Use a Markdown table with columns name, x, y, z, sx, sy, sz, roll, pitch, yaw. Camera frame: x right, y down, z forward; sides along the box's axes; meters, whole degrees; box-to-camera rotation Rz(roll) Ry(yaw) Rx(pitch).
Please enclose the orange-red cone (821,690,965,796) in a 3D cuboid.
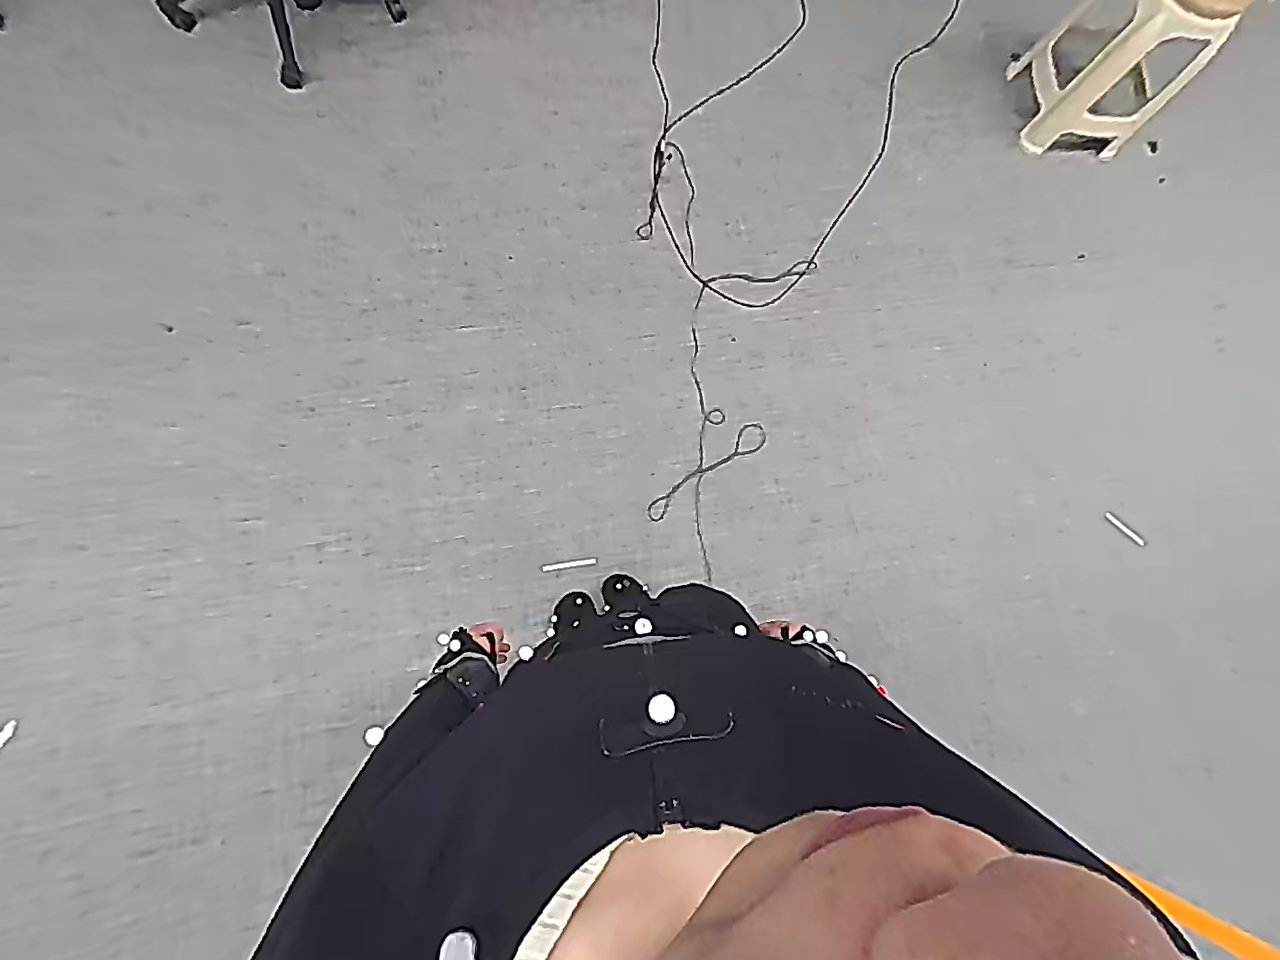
| name | x | y | z | sx | sy | sz | roll | pitch | yaw |
| --- | --- | --- | --- | --- | --- | --- | --- | --- | --- |
| orange-red cone | 0.587 | 0.618 | 1.202 | 0.199 | 0.360 | 0.198 | -13 | 81 | -7 |
